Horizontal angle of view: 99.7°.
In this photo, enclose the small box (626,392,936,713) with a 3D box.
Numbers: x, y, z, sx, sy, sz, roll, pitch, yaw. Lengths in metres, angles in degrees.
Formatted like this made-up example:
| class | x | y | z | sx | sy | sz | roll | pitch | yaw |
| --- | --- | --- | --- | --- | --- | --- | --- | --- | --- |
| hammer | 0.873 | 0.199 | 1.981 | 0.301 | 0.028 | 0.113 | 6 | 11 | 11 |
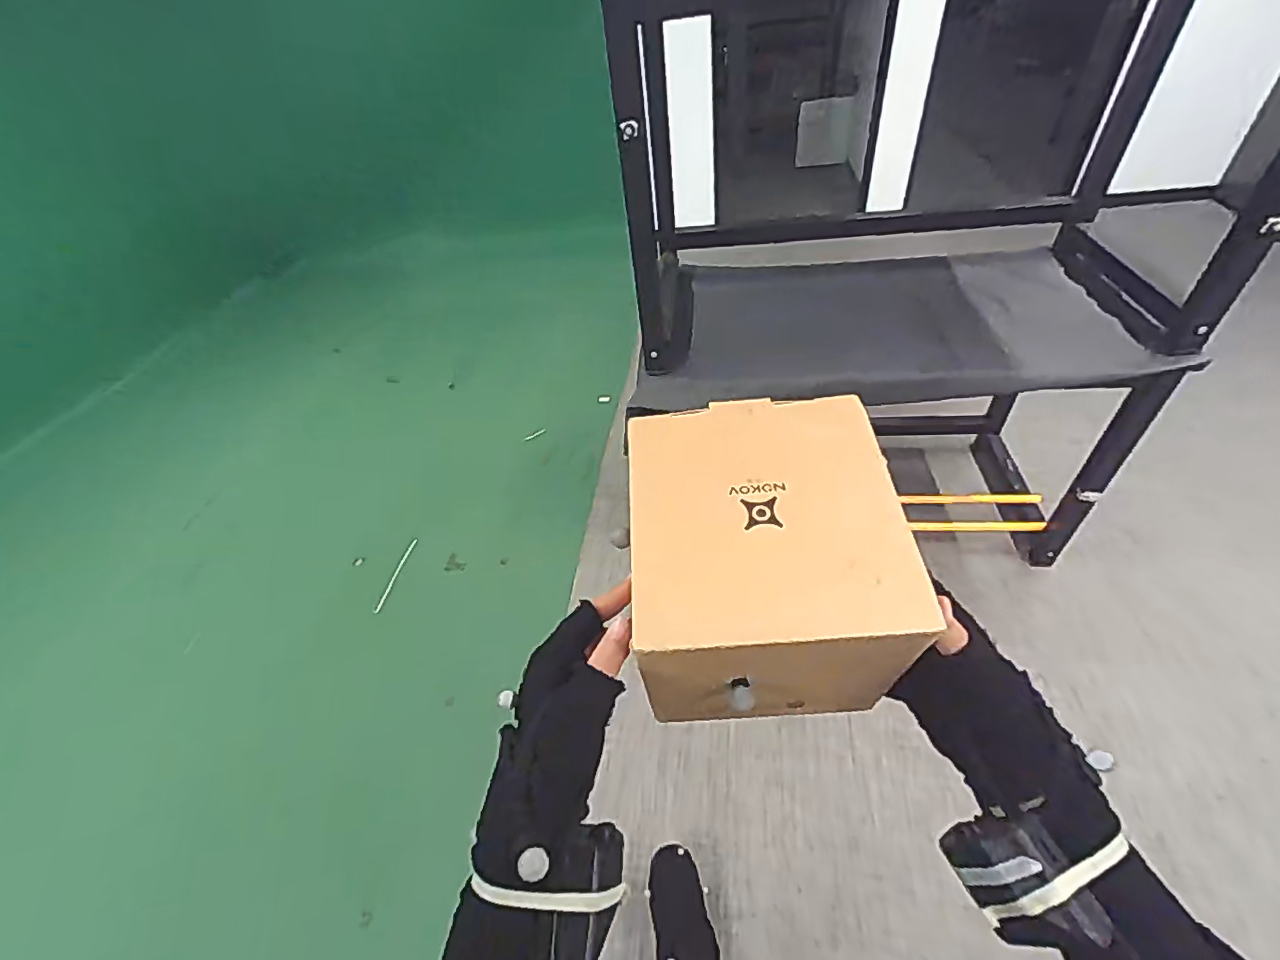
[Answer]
| class | x | y | z | sx | sy | sz | roll | pitch | yaw |
| --- | --- | --- | --- | --- | --- | --- | --- | --- | --- |
| small box | 0.082 | 0.063 | 0.397 | 0.168 | 0.176 | 0.179 | -5 | 52 | 4 |
